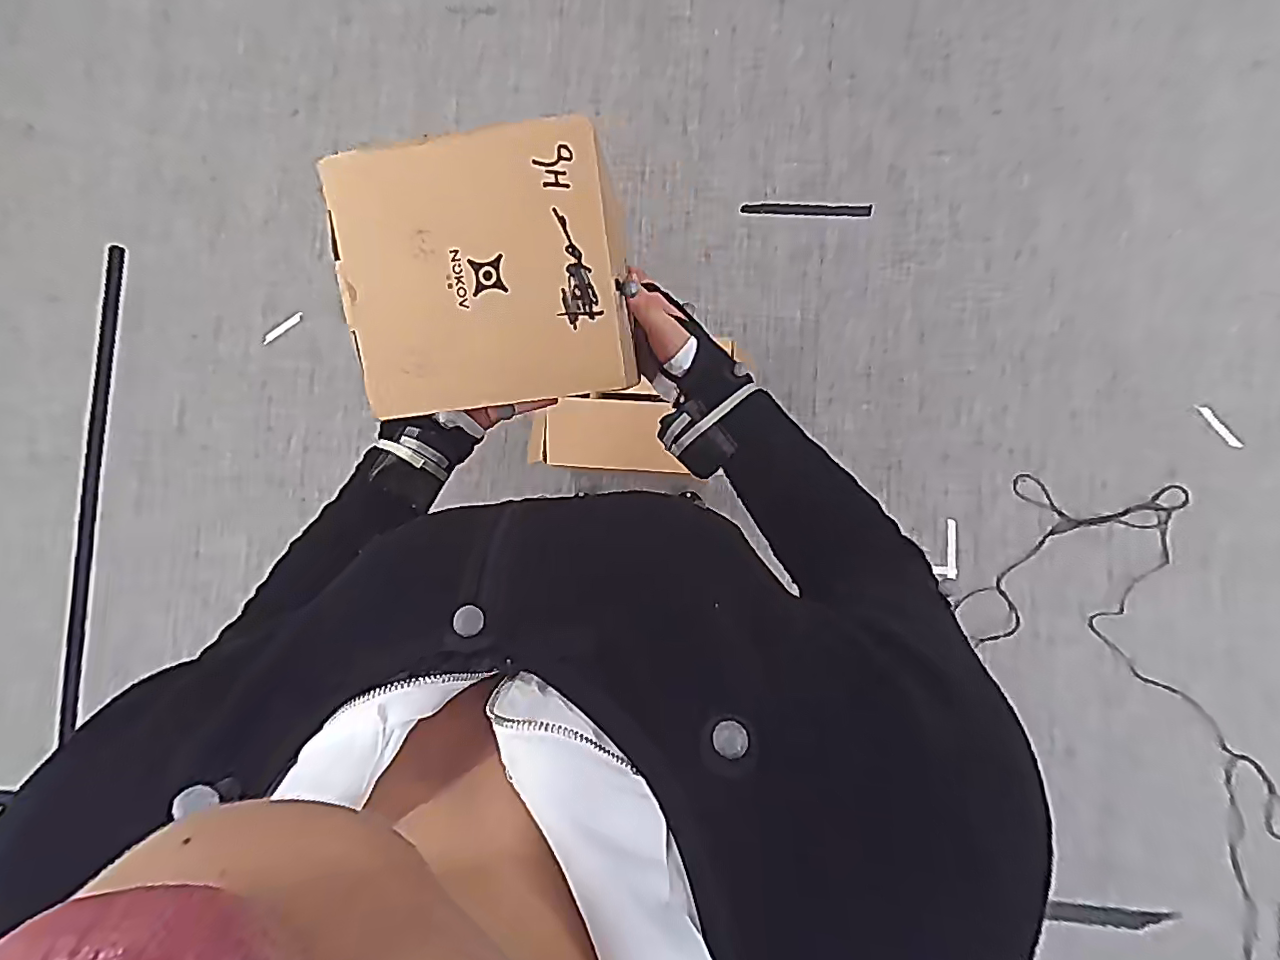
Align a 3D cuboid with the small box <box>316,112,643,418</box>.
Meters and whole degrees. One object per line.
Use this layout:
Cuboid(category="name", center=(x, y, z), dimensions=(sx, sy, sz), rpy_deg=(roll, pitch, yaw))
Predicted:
Cuboid(category="small box", center=(-0.098, -0.140, 0.412), dimensions=(0.179, 0.176, 0.168), rpy_deg=(-6, 101, 5))
